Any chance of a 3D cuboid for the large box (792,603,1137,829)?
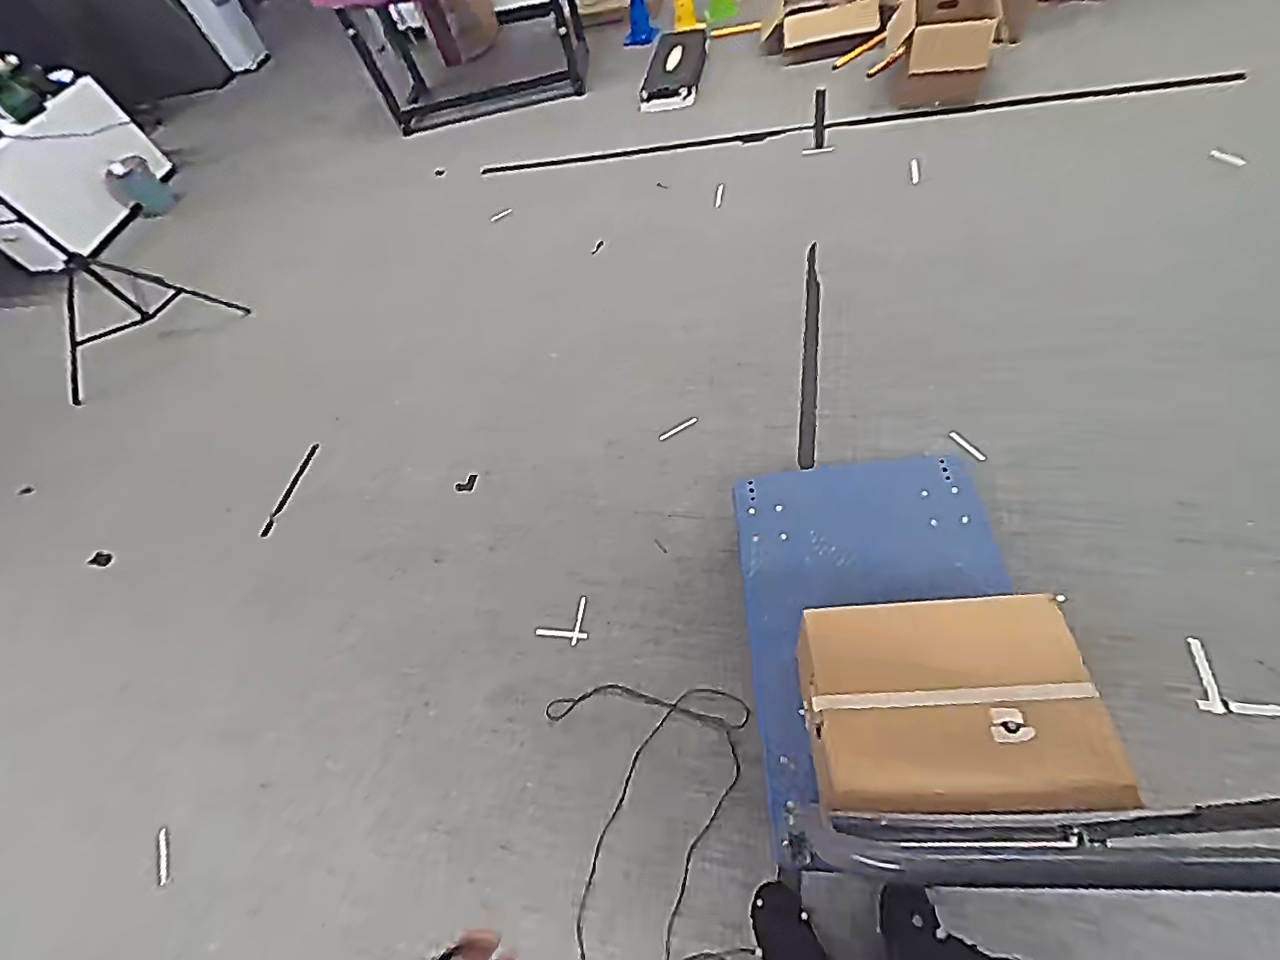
[{"bbox_3d":[0.505,0.433,0.961,0.408,0.320,0.320,-6,57,9],"label":"large box"}]
